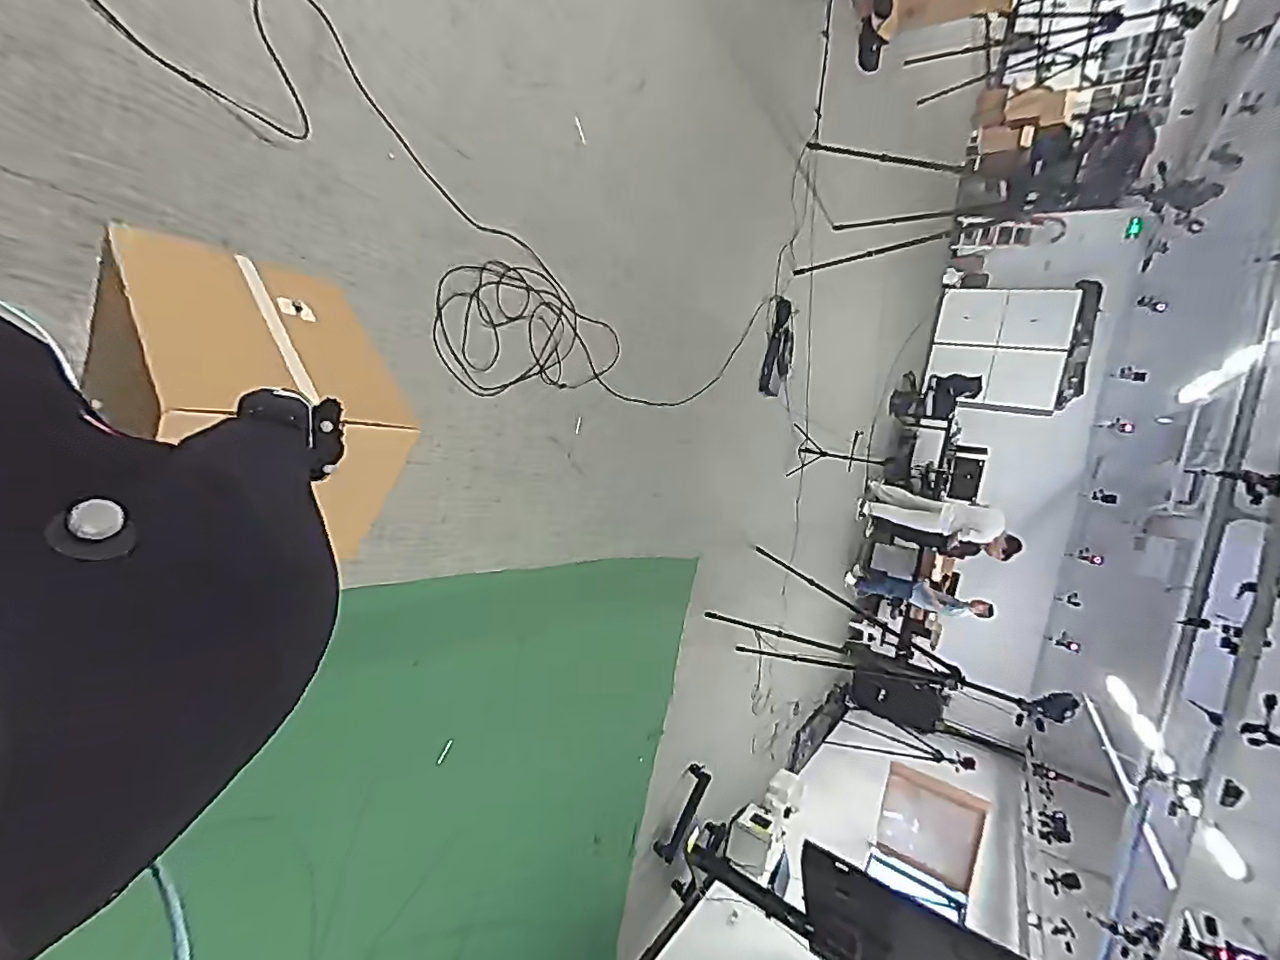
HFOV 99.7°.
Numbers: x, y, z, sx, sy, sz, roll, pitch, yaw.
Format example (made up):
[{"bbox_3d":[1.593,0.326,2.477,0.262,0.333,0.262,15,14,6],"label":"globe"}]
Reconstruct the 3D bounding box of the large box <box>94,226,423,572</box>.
[{"bbox_3d":[-0.623,-0.118,0.870,0.320,0.408,0.320,0,136,-53],"label":"large box"}]
